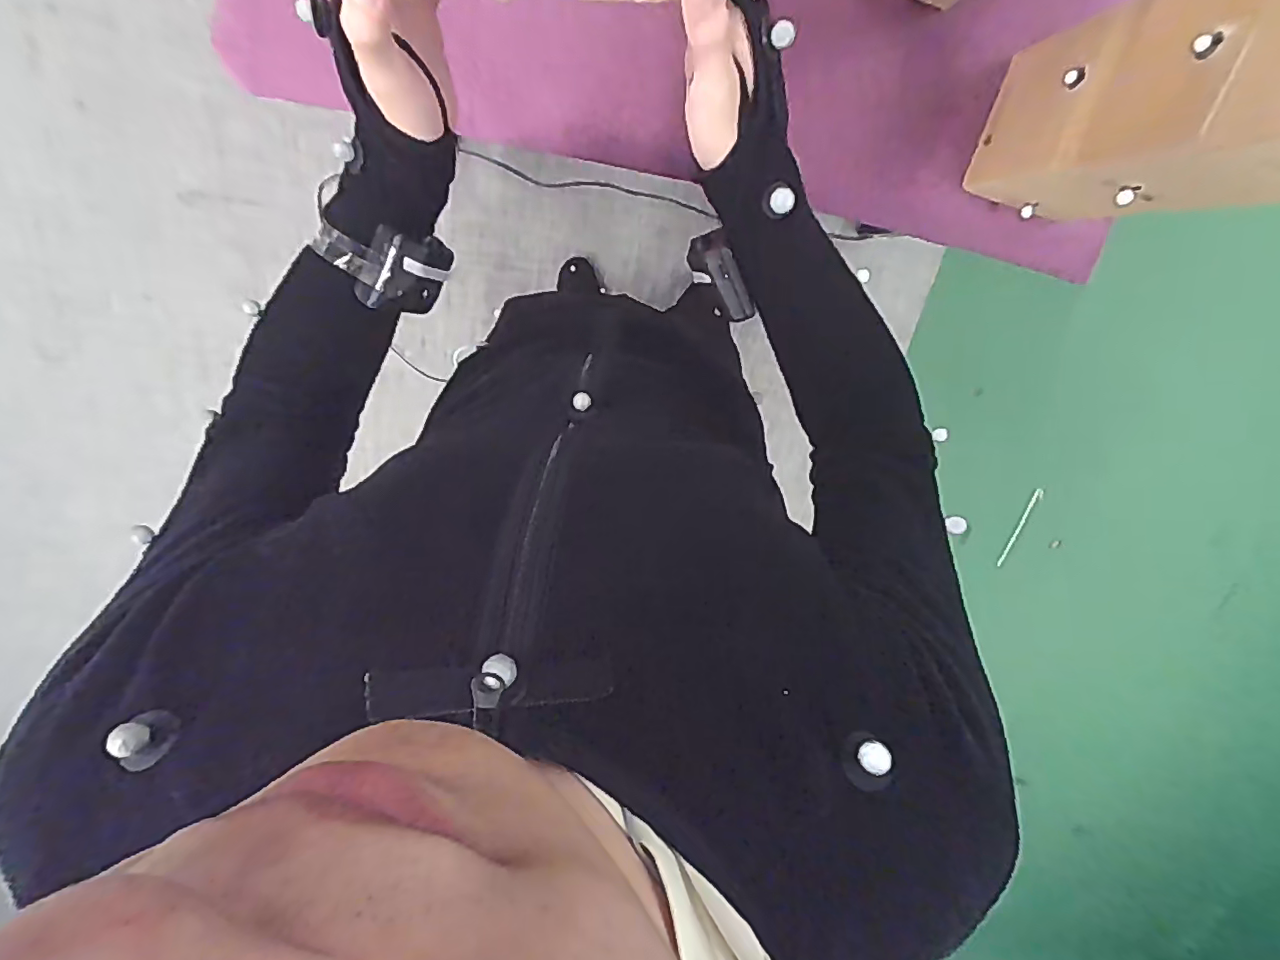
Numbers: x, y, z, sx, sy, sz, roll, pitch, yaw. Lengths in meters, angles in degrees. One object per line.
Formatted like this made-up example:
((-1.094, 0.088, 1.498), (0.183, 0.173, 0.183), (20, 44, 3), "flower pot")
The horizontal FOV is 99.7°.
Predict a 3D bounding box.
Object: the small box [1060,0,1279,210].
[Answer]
((0.585, -0.391, 0.543), (0.168, 0.176, 0.179), (12, 111, -9), "small box")

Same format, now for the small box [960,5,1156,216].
((0.567, -0.450, 0.695), (0.179, 0.176, 0.168), (12, 110, -10), "small box")
